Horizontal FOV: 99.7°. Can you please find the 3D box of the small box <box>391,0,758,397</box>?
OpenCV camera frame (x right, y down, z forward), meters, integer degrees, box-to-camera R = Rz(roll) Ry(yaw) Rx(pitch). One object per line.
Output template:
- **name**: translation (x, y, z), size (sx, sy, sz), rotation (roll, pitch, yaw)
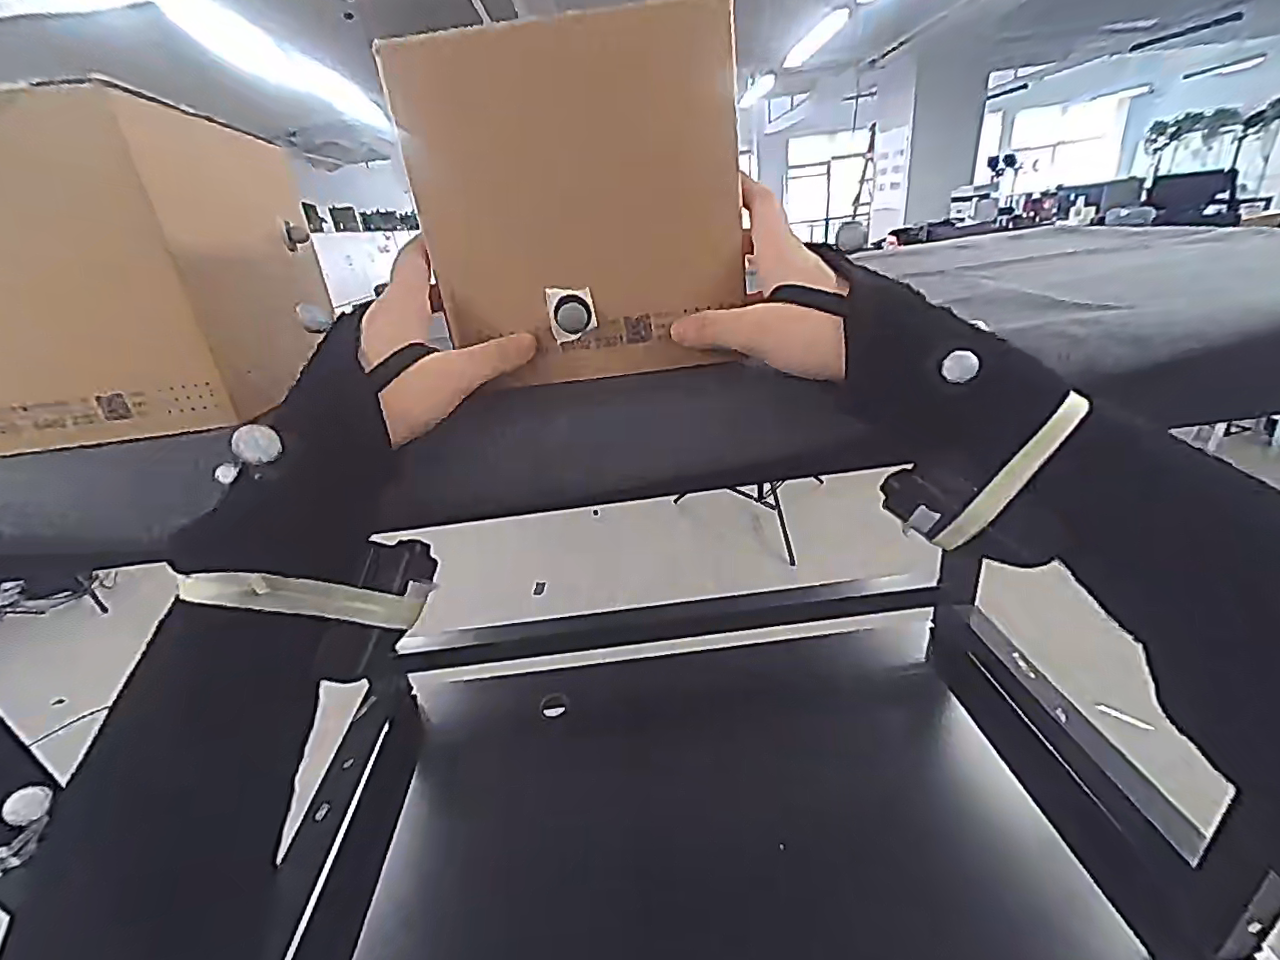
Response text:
- **small box**: translation (-0.025, -0.160, 0.348), size (0.168, 0.176, 0.179), rotation (-8, 24, 1)
